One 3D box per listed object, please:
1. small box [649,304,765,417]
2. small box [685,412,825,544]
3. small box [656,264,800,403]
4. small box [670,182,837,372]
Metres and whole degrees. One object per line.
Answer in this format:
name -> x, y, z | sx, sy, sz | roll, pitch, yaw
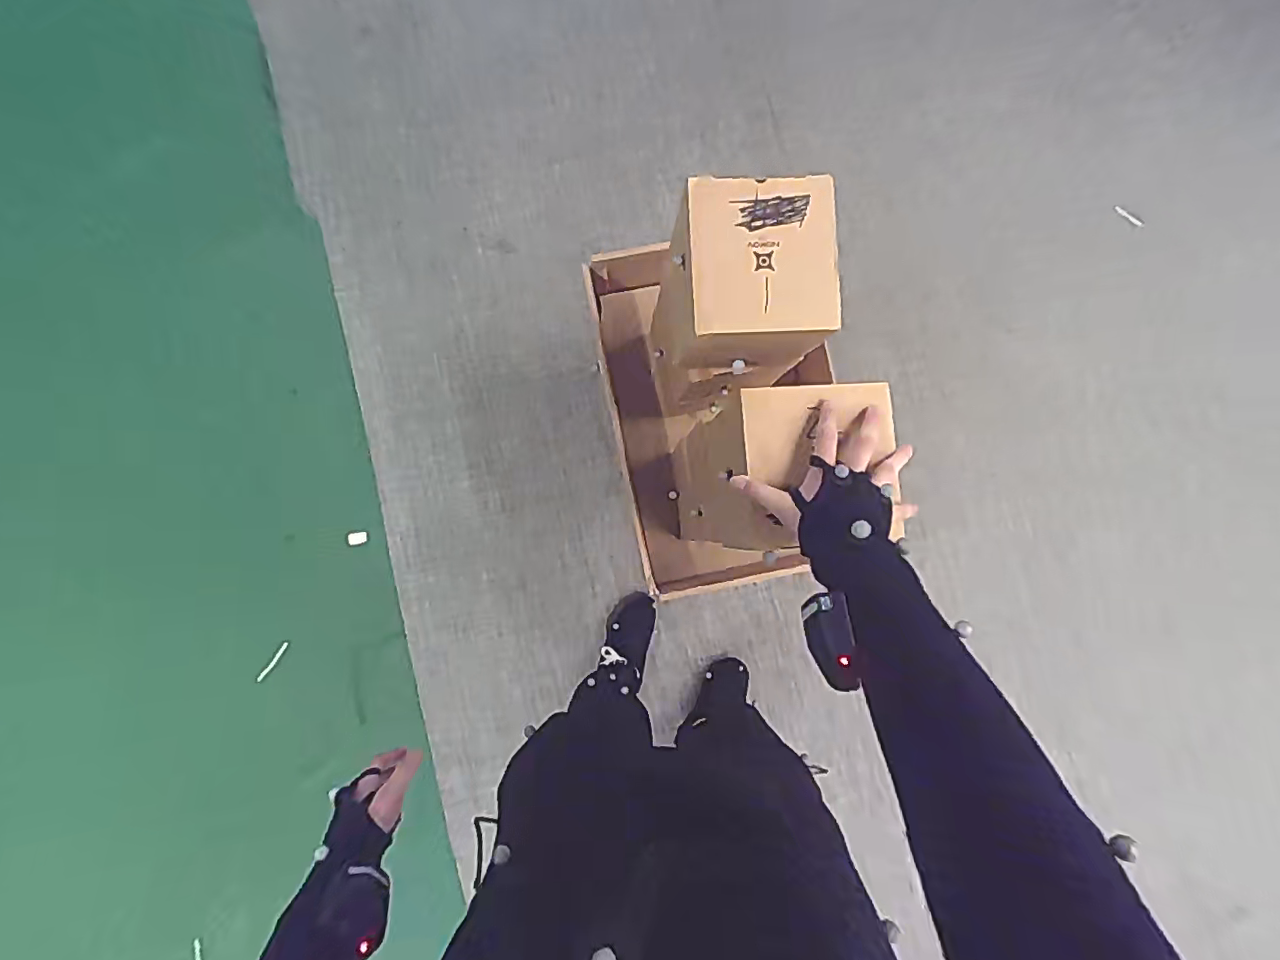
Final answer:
small box -> 0.116, -0.228, 1.006 | 0.168, 0.176, 0.179 | -12, 88, -3
small box -> 0.165, 0.002, 0.823 | 0.168, 0.176, 0.179 | -4, 85, -4
small box -> 0.126, -0.233, 0.844 | 0.168, 0.176, 0.179 | -12, 89, -4
small box -> 0.130, -0.243, 0.680 | 0.168, 0.176, 0.179 | -3, 89, -4
